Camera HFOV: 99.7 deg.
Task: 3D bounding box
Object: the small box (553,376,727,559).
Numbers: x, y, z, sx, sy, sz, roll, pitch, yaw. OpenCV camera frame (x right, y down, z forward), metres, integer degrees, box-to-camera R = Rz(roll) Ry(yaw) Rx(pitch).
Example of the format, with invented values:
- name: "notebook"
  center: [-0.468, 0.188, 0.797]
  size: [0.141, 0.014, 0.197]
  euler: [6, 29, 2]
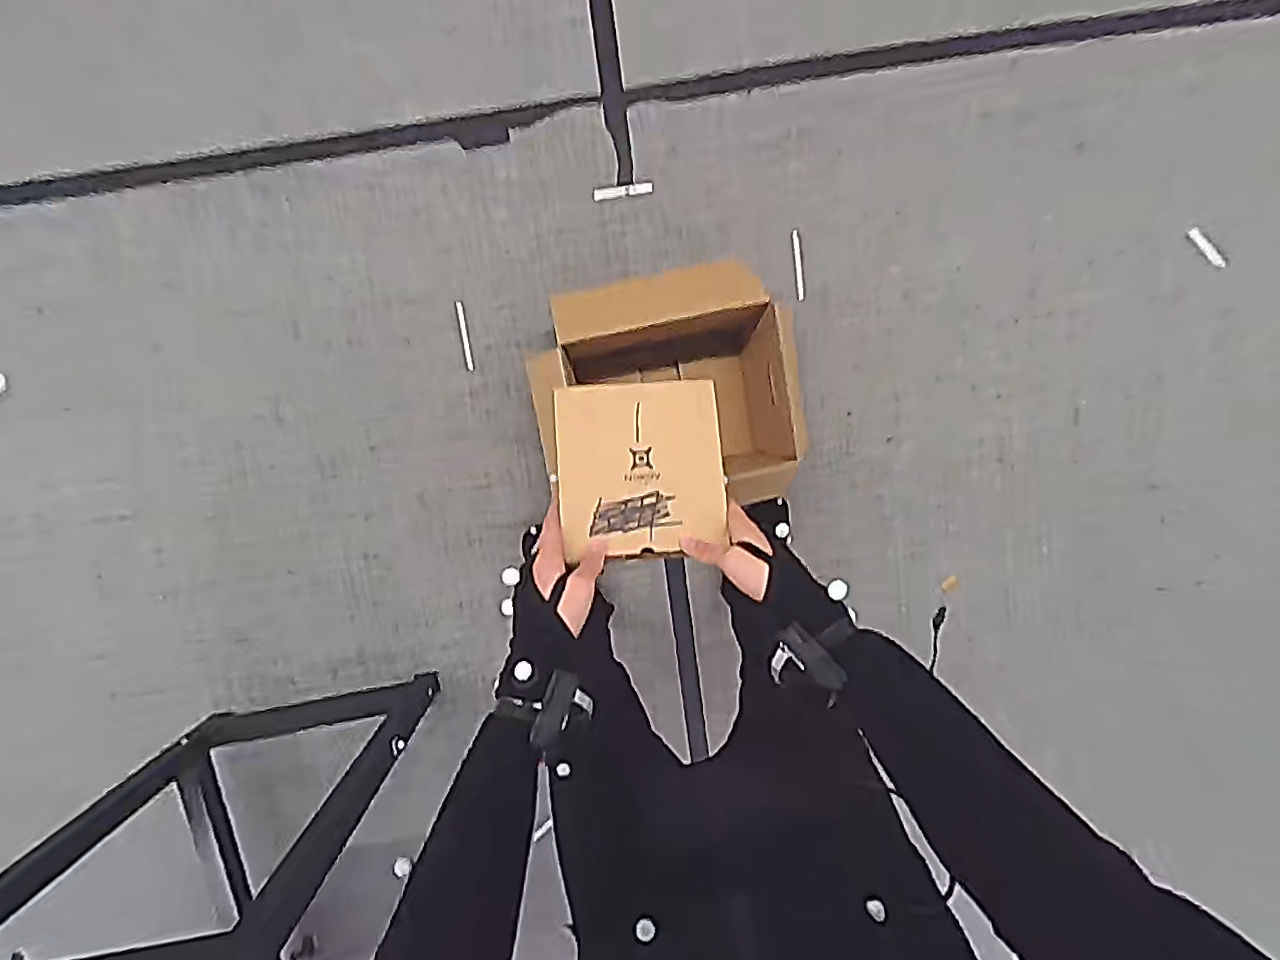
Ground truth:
- name: "small box"
  center: [-0.004, -0.003, 0.608]
  size: [0.168, 0.176, 0.179]
  euler: [-4, 80, -4]
